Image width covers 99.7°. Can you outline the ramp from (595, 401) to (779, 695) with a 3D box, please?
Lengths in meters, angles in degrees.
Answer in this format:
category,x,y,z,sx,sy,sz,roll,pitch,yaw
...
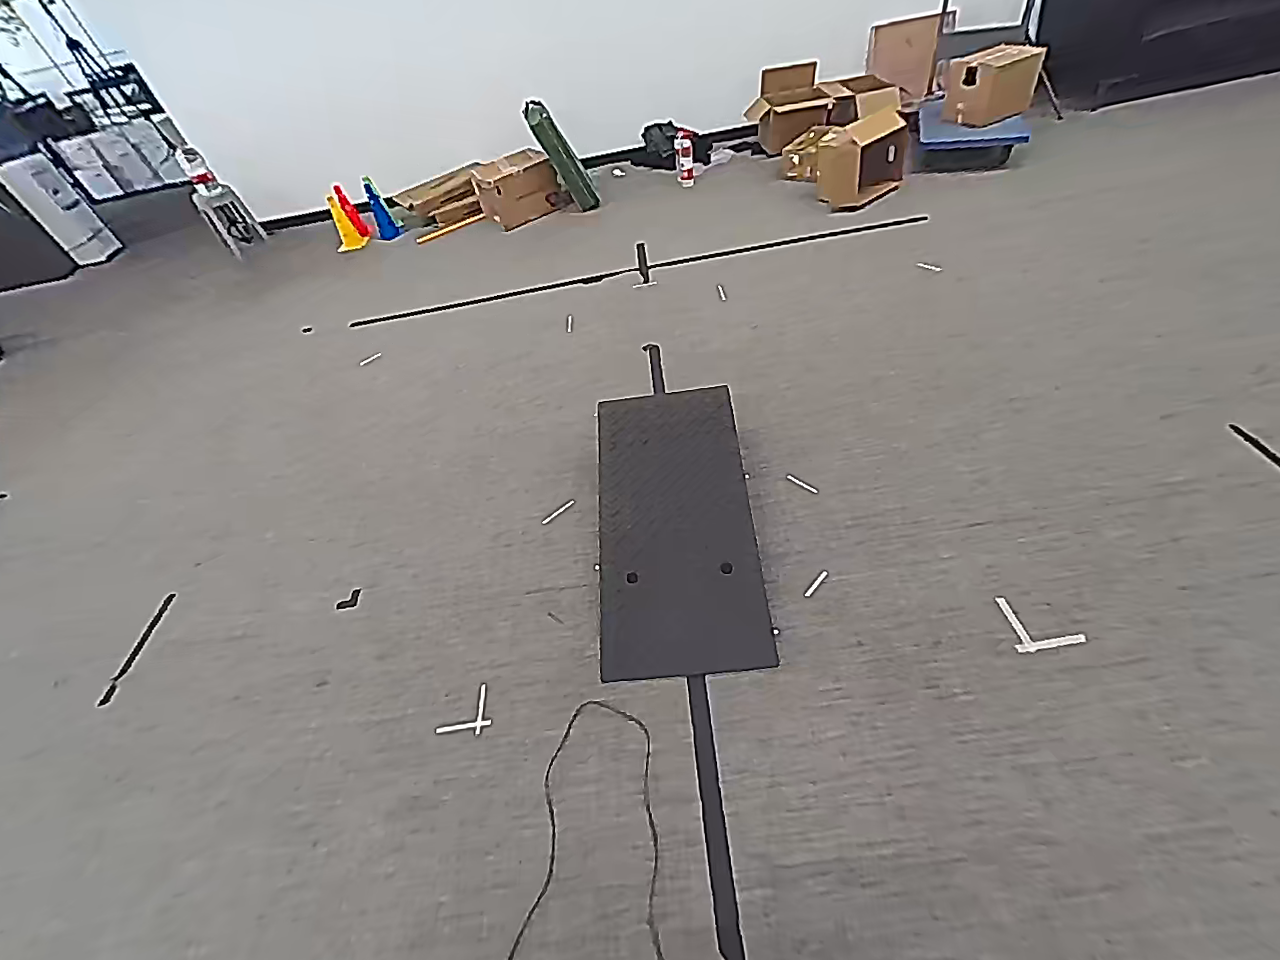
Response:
category,x,y,z,sx,sy,sz,roll,pitch,yaw
ramp,0.108,0.153,1.758,0.509,0.206,0.991,-9,46,3
